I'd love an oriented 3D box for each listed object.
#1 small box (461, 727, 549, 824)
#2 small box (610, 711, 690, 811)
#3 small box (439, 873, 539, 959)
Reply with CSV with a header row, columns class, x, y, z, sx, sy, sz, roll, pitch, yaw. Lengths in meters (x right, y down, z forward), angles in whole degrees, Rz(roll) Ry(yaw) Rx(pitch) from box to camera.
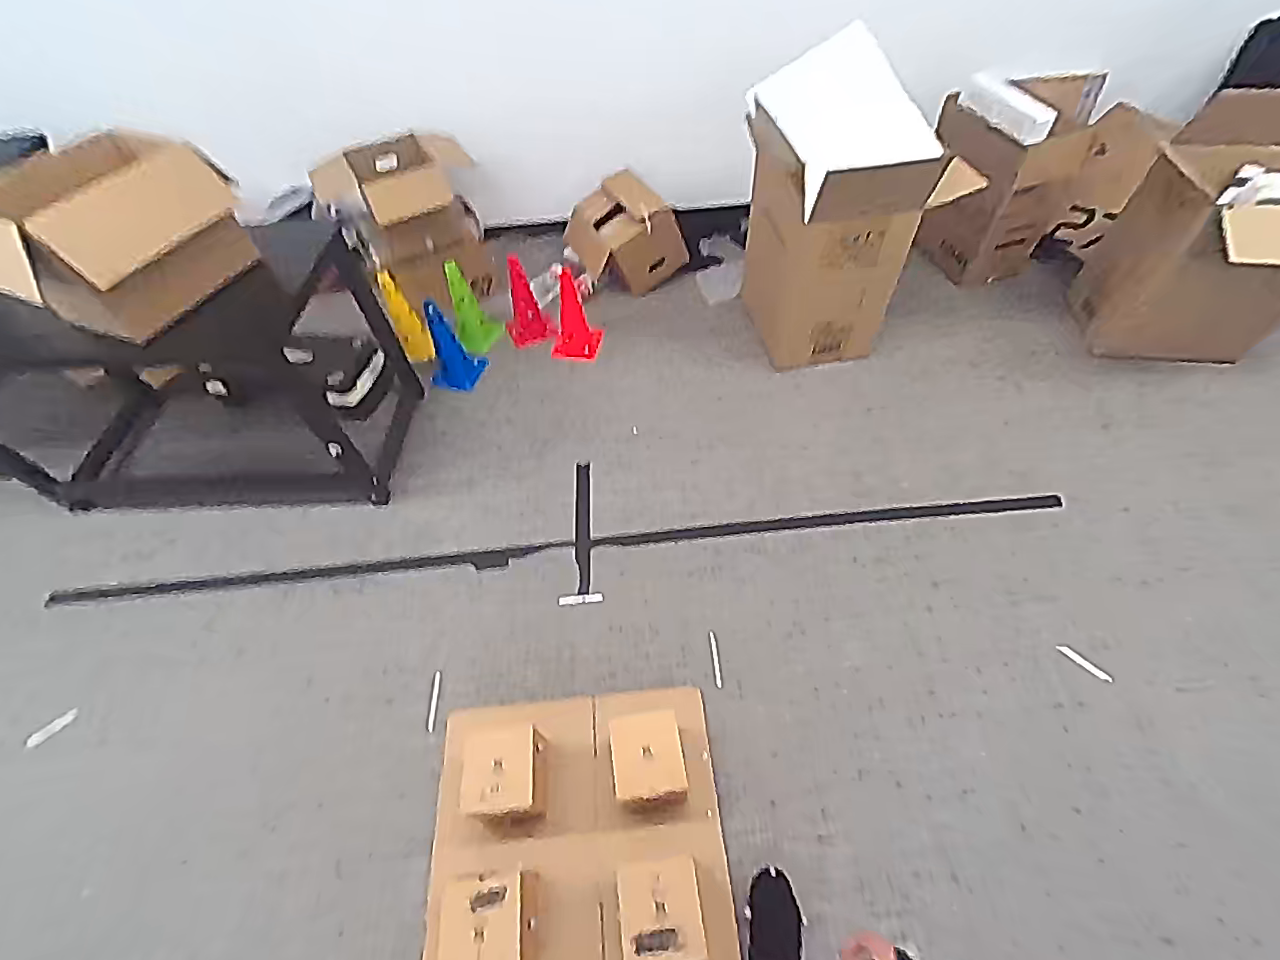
class,x,y,z,sx,sy,sz,roll,pitch,yaw
small box,-0.320,0.719,1.313,0.168,0.176,0.179,-7,54,0
small box,0.022,0.689,1.320,0.168,0.176,0.179,-9,54,-3
small box,-0.312,0.950,1.145,0.168,0.176,0.179,-7,55,-1
